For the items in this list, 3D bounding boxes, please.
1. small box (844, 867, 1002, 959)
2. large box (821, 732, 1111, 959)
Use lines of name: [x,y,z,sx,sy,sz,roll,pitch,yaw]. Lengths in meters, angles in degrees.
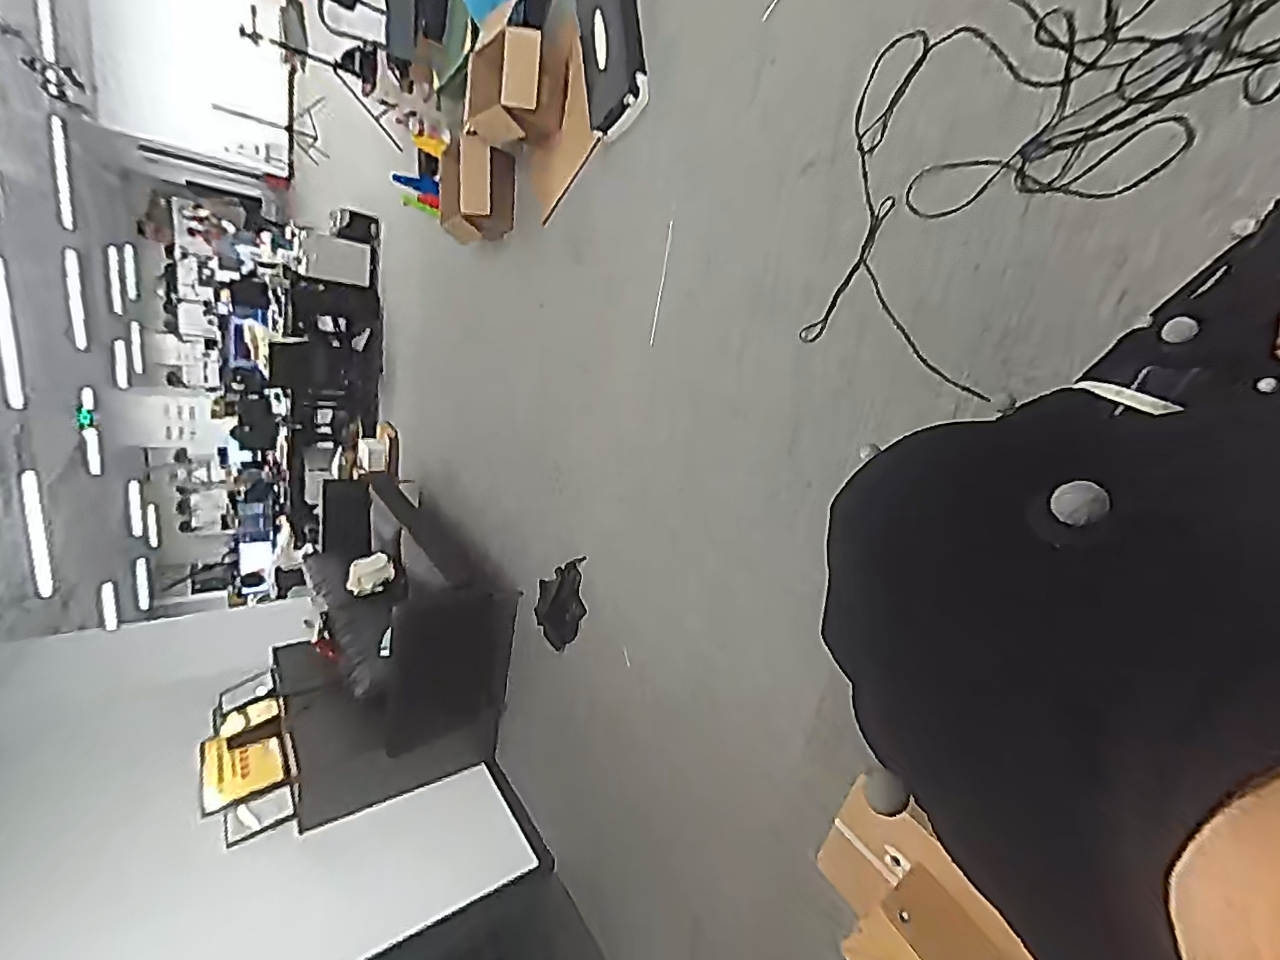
small box: [0.532,0.886,1.016,0.179,0.176,0.168,43,125,42]
large box: [0.698,0.857,1.196,0.408,0.320,0.320,36,119,46]
